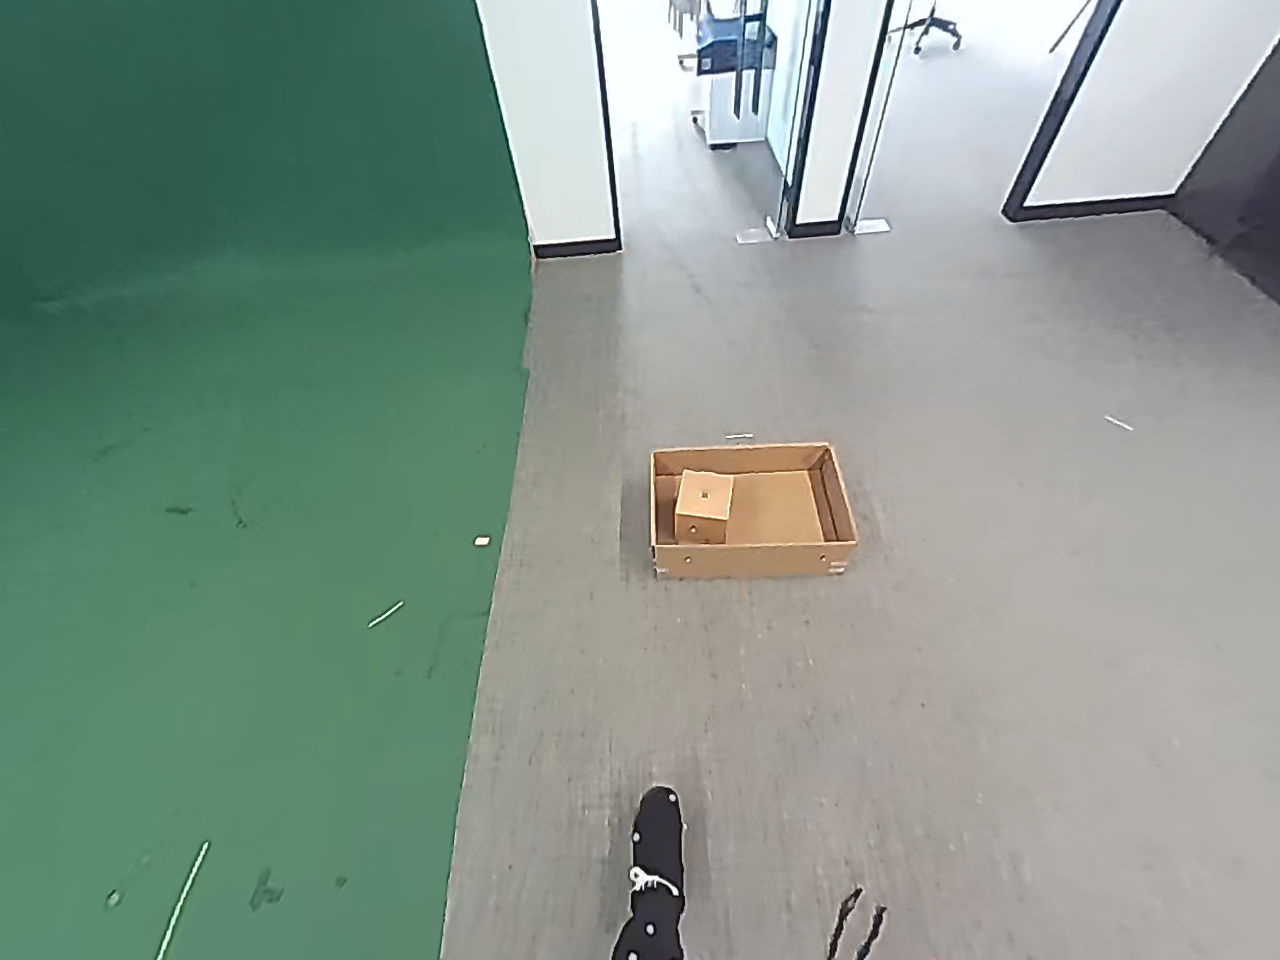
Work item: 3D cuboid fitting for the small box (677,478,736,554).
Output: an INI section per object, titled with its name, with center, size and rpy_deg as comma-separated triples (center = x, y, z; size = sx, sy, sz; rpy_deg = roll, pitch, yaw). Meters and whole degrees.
[small box]
center = 0.215, 0.119, 1.748
size = 0.168, 0.176, 0.179
rpy_deg = 7, 51, 10
